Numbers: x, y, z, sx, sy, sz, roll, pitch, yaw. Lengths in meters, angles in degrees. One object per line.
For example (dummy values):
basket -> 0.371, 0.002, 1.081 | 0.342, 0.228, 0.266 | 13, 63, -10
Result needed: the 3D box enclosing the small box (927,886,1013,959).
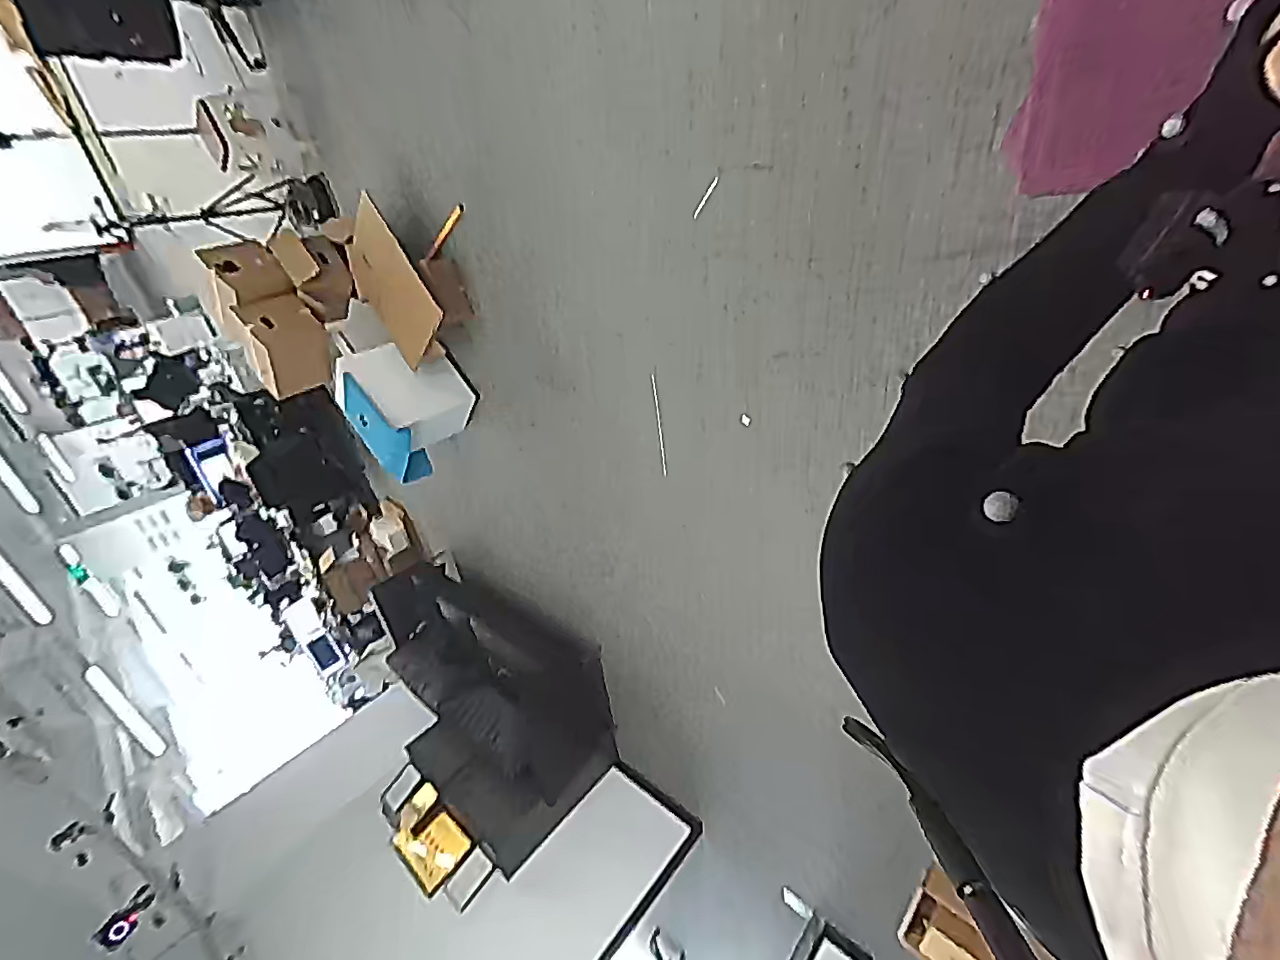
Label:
small box -> 1.014, 1.411, 1.657 | 0.168, 0.176, 0.179 | 24, 130, 37
